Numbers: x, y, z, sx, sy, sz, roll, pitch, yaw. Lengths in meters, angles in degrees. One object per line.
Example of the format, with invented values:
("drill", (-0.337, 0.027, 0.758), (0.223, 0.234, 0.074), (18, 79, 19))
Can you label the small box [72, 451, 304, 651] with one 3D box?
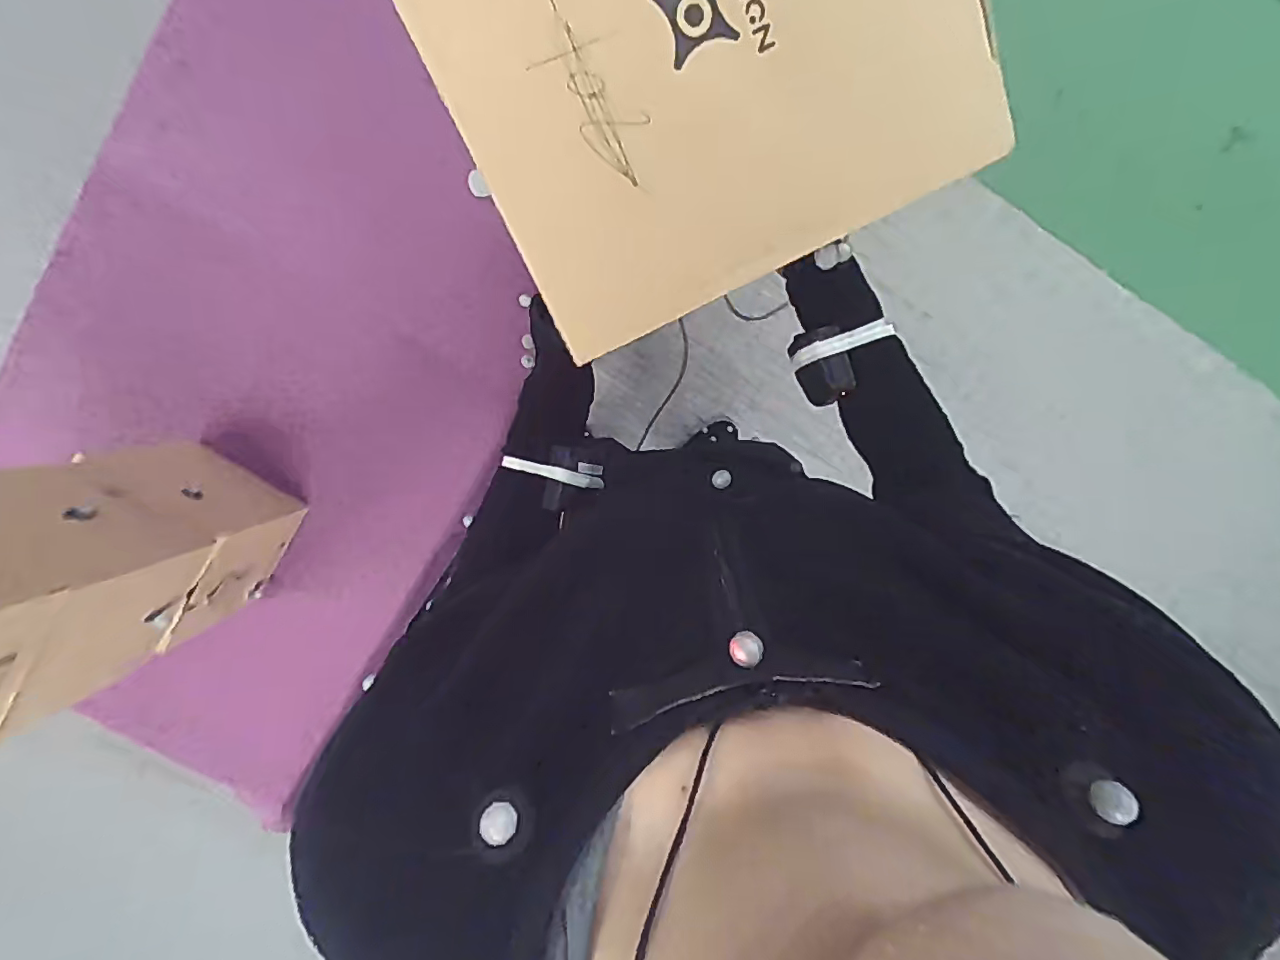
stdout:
("small box", (-0.575, 0.074, 0.680), (0.179, 0.176, 0.168), (31, 96, -5))

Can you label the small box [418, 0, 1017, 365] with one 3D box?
("small box", (0.021, -0.171, 0.252), (0.179, 0.176, 0.168), (-24, 107, 4))

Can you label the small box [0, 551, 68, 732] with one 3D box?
("small box", (-0.569, 0.121, 0.356), (0.179, 0.176, 0.168), (31, 96, -6))

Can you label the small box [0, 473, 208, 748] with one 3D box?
("small box", (-0.575, 0.109, 0.519), (0.168, 0.176, 0.179), (33, 95, -5))
